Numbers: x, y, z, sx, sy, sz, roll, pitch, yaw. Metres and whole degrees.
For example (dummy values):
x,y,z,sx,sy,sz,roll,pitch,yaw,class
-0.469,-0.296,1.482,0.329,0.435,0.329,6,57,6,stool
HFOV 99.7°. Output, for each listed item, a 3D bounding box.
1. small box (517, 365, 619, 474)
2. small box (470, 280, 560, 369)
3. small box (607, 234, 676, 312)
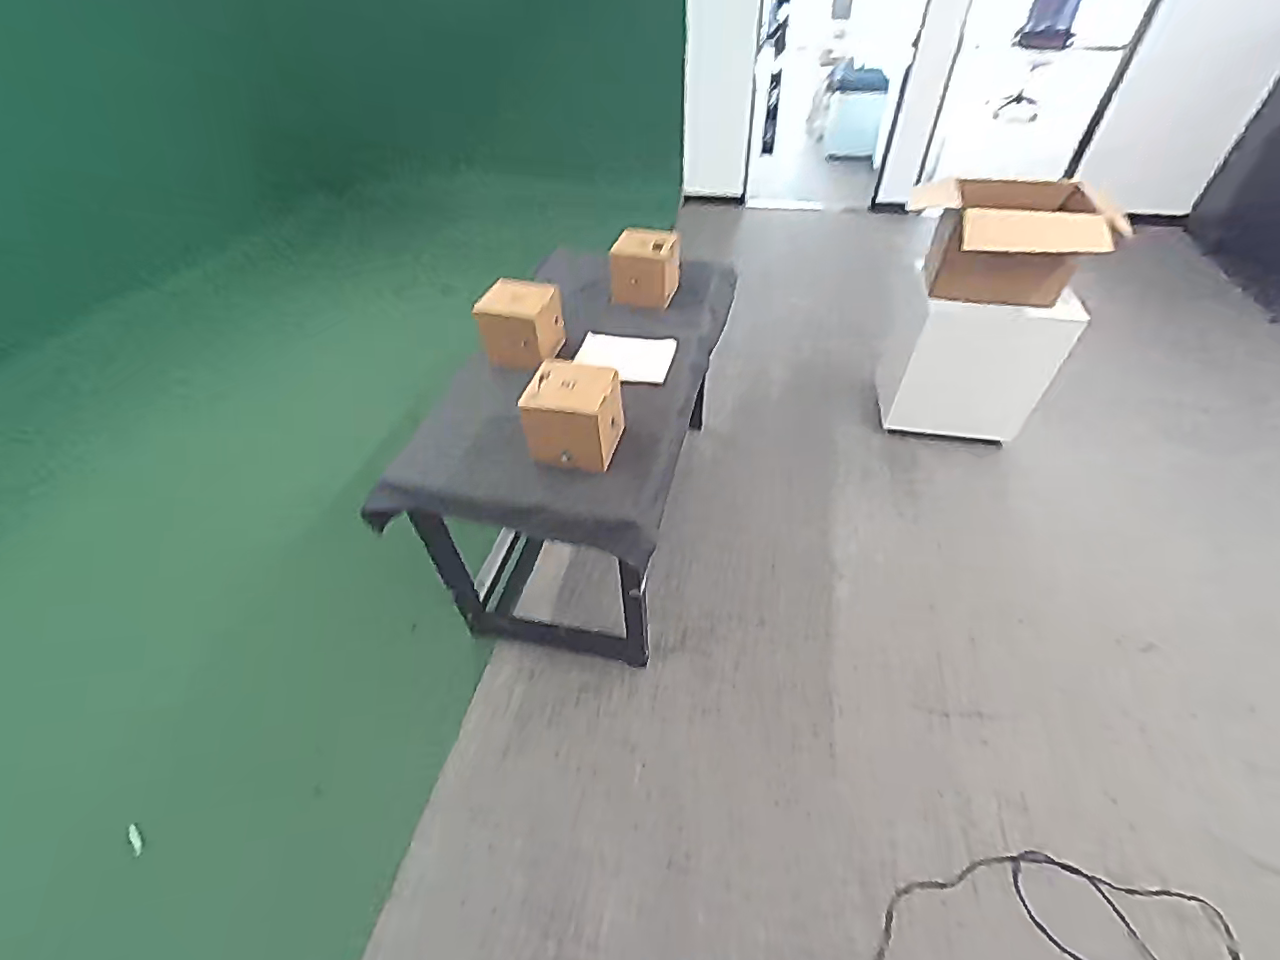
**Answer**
x,y,z,sx,sy,sz,roll,pitch,yaw,class
-0.149,-0.132,1.201,0.179,0.176,0.168,9,46,11,small box
-0.328,-0.420,1.465,0.179,0.176,0.168,9,46,11,small box
0.009,-0.643,1.686,0.179,0.176,0.168,11,47,13,small box
